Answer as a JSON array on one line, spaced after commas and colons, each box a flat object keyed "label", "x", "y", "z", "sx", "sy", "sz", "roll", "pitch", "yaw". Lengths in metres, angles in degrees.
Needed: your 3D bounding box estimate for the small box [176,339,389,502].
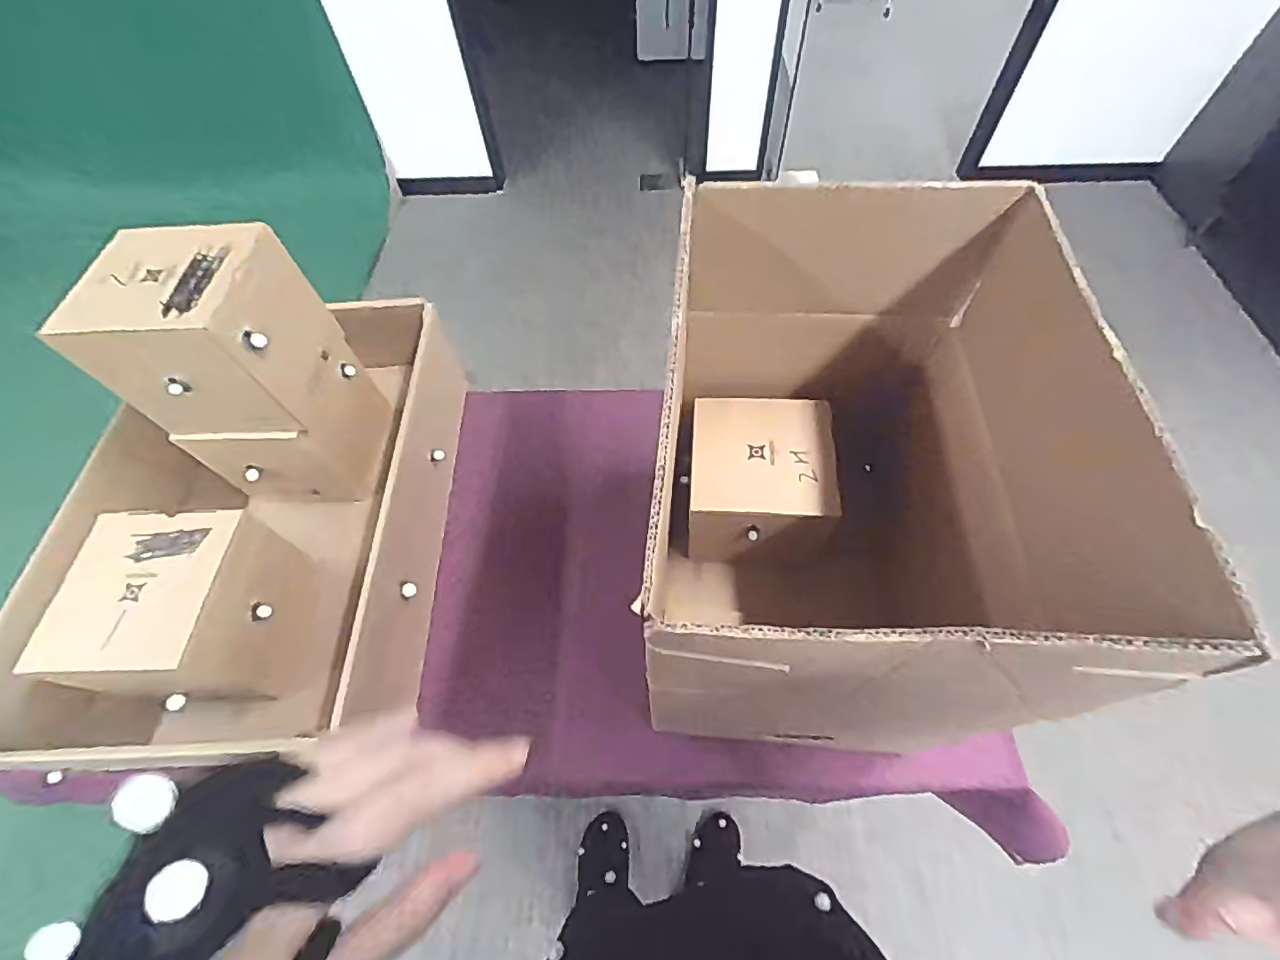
[{"label": "small box", "x": -0.488, "y": -0.077, "z": 0.773, "sx": 0.168, "sy": 0.176, "sz": 0.179, "roll": -1, "pitch": 59, "yaw": 4}]
